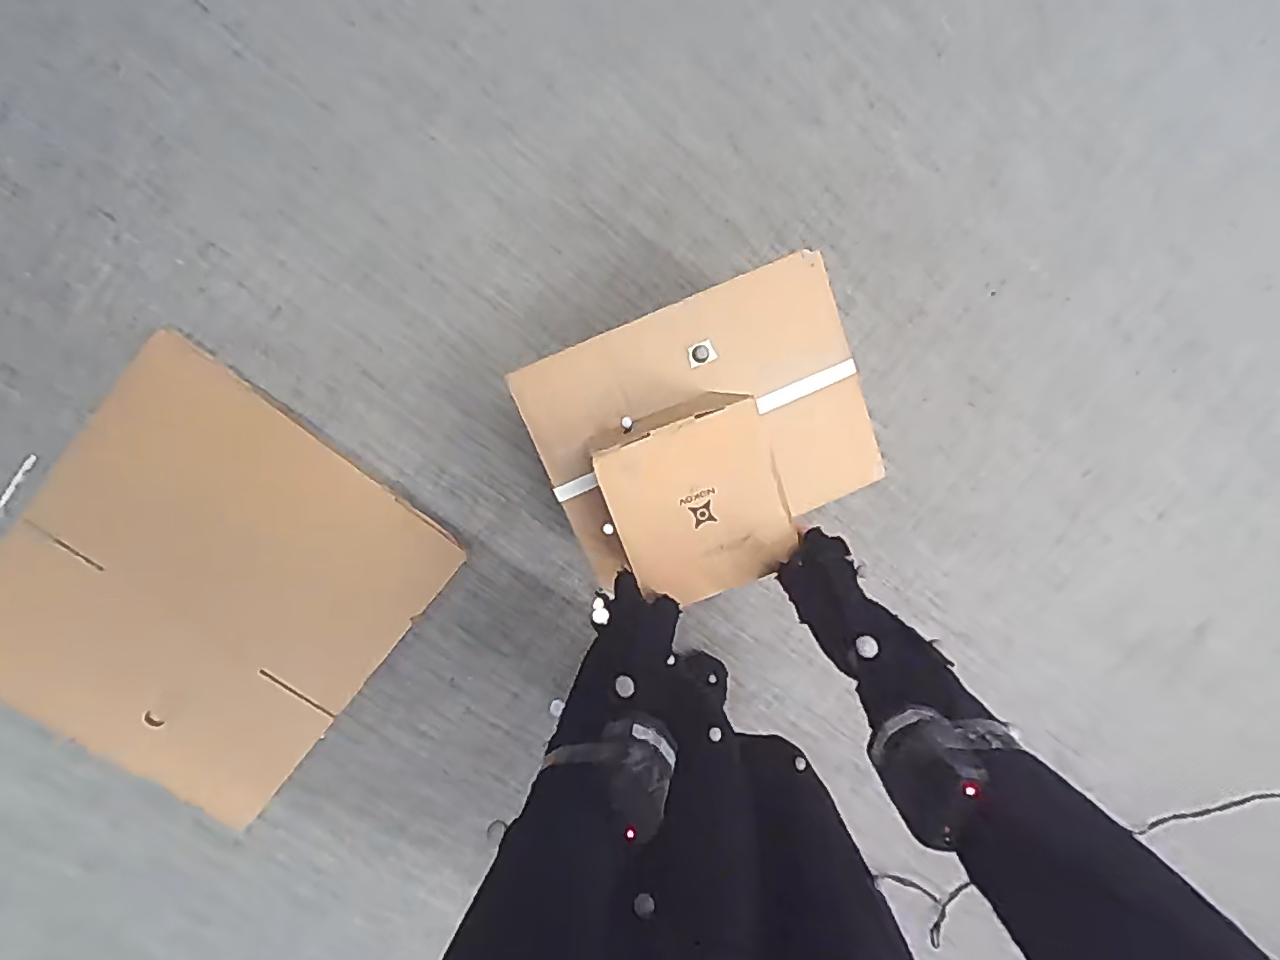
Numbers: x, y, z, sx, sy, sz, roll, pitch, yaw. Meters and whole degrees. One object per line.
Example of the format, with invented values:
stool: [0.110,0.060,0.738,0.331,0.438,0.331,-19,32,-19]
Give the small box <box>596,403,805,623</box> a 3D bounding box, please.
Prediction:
small box: [0.054,0.022,0.603,0.168,0.176,0.179,-21,102,0]
